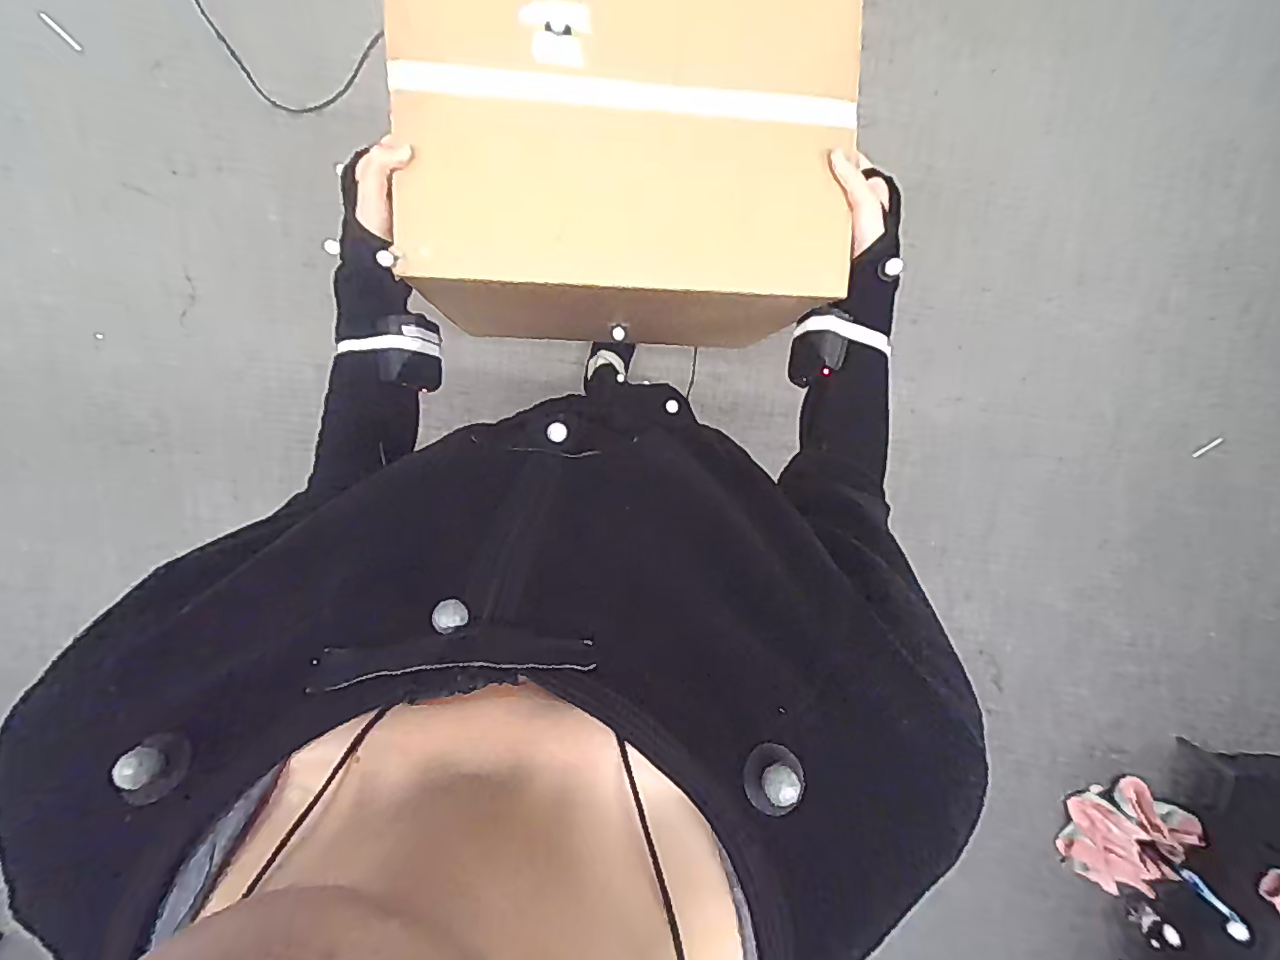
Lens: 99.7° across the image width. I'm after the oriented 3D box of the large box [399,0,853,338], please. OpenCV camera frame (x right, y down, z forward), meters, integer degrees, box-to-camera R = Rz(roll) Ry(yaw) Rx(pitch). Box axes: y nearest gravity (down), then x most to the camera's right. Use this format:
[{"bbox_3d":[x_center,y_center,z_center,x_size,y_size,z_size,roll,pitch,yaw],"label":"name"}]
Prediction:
[{"bbox_3d":[-0.019,-0.343,0.626,0.408,0.320,0.320,0,95,-6],"label":"large box"}]
